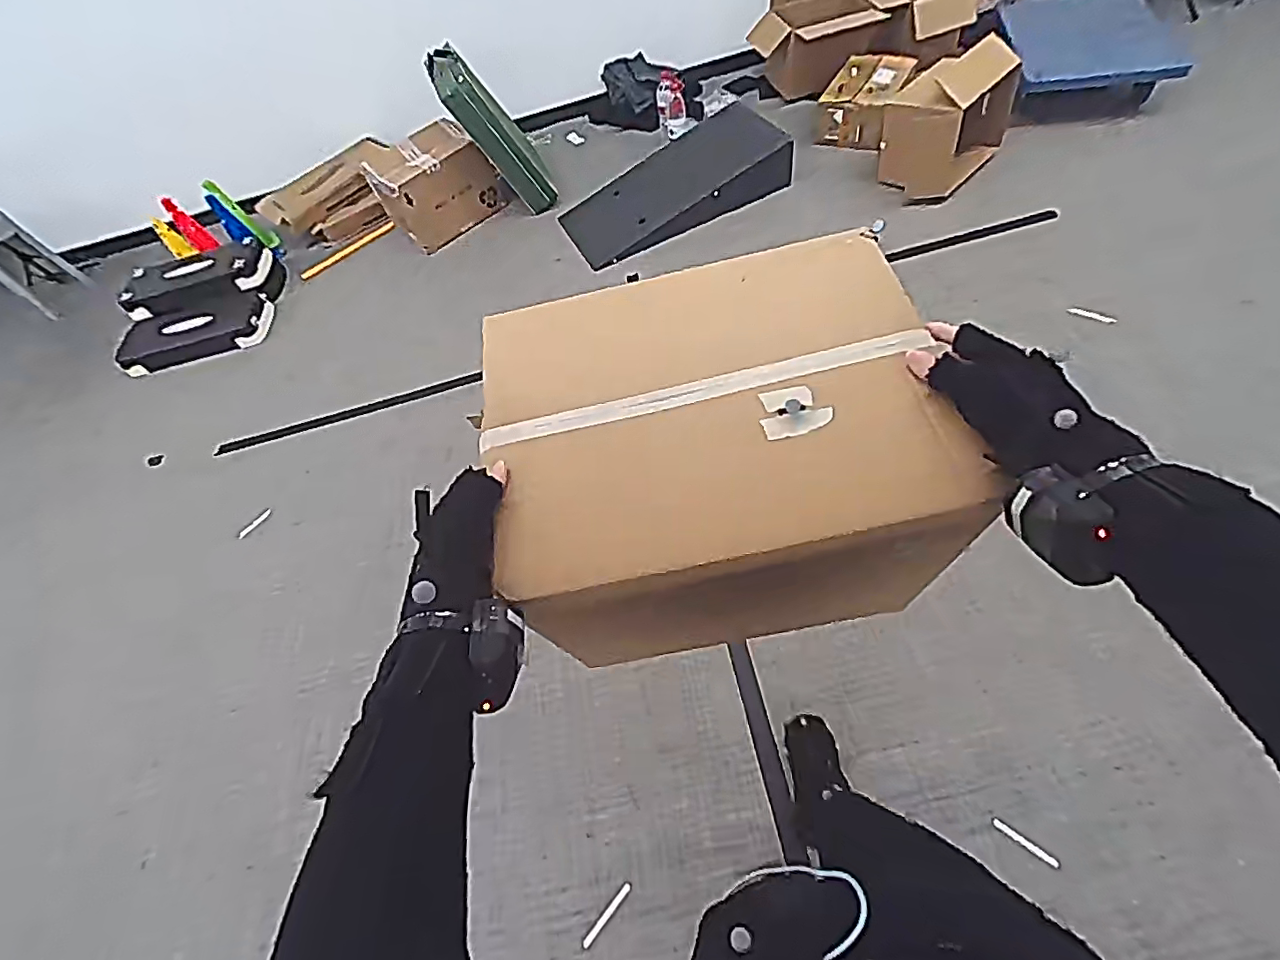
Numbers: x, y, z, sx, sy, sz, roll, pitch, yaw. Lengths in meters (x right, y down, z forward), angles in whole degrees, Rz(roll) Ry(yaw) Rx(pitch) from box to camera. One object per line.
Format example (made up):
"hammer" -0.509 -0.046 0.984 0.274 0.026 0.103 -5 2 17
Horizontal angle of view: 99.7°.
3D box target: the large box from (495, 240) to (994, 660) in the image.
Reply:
"large box" 0.082 -0.009 0.631 0.408 0.320 0.320 -12 61 3
